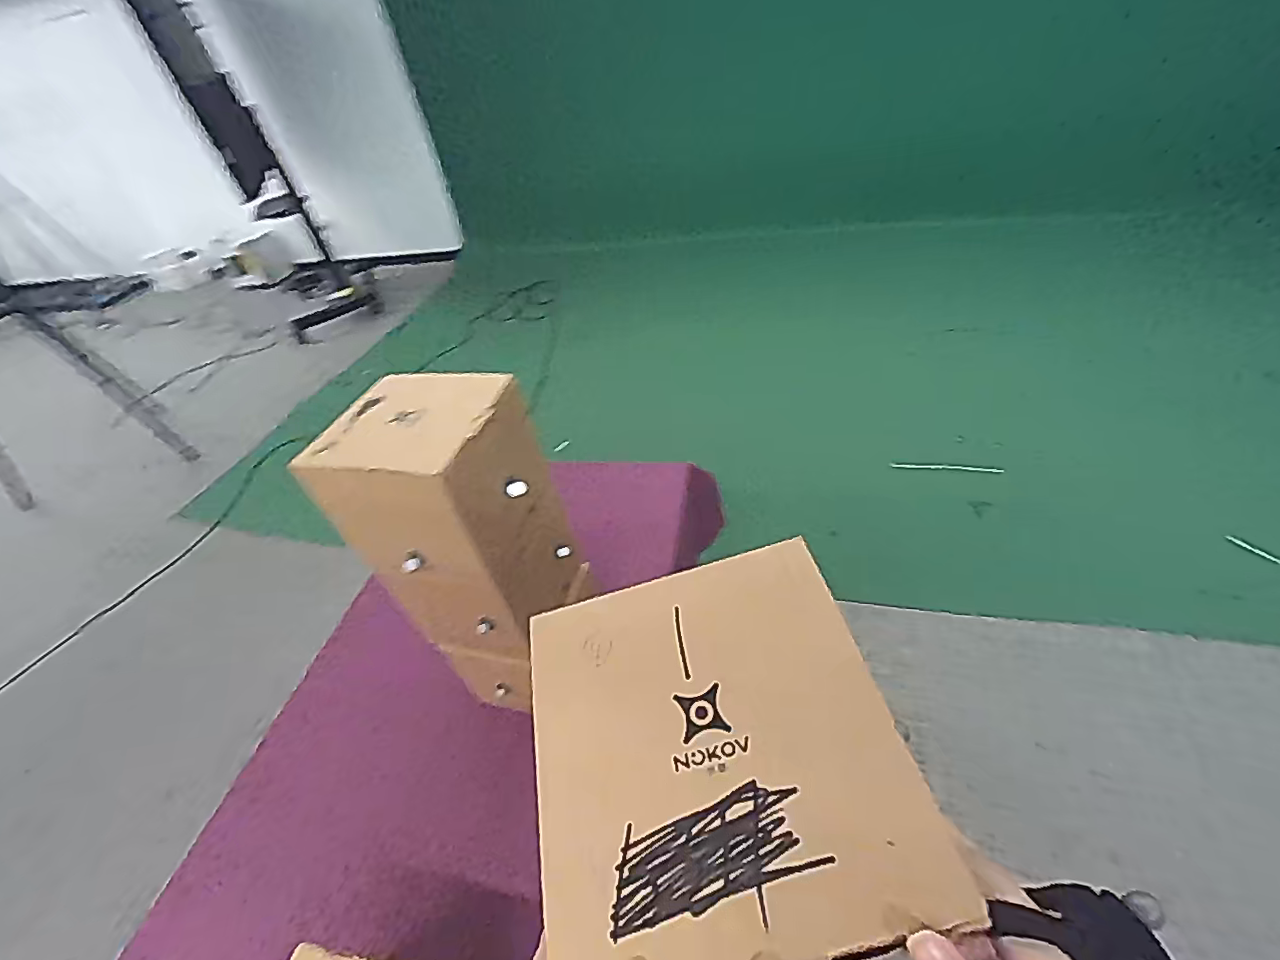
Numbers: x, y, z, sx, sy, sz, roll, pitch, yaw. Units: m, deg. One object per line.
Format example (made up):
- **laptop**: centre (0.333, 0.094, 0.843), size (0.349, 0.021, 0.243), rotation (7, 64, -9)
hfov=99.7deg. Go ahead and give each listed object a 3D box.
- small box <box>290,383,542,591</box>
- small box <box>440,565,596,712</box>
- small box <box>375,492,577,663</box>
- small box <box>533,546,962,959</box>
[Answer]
- **small box**: centre (-0.233, 0.007, 0.617), size (0.179, 0.176, 0.168), rotation (4, 43, 17)
- **small box**: centre (-0.166, 0.243, 0.834), size (0.168, 0.176, 0.179), rotation (4, 45, 18)
- **small box**: centre (-0.203, 0.125, 0.728), size (0.179, 0.176, 0.168), rotation (3, 44, 19)
- **small box**: centre (0.049, 0.173, 0.314), size (0.168, 0.176, 0.179), rotation (-17, 45, 4)
